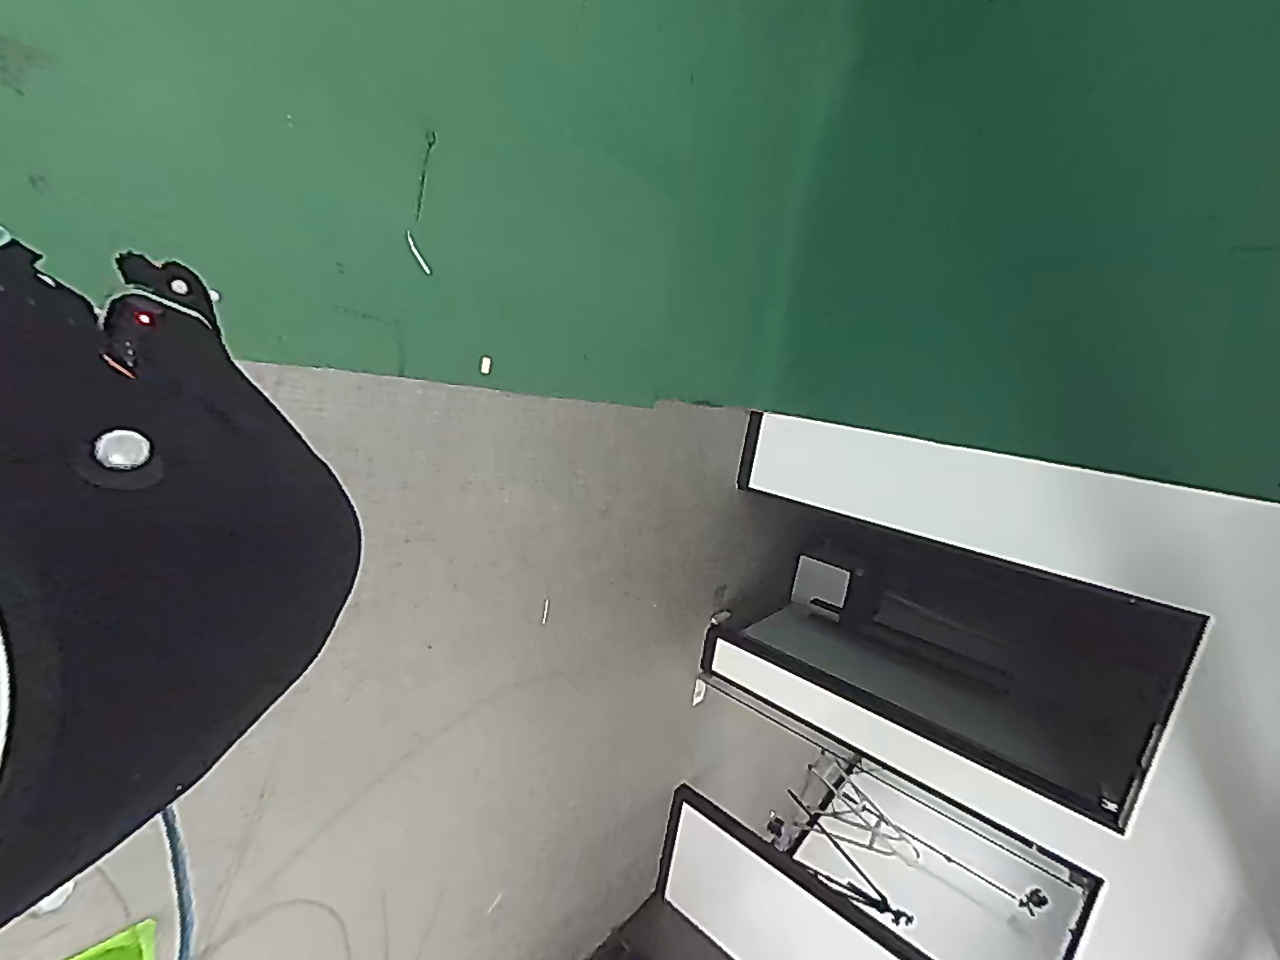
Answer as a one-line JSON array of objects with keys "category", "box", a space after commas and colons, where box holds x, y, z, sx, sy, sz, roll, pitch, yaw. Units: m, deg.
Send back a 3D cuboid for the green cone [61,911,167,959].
[{"category": "green cone", "box": [-1.177, 1.241, 1.233, 0.202, 0.368, 0.200, -6, 108, -49]}]
